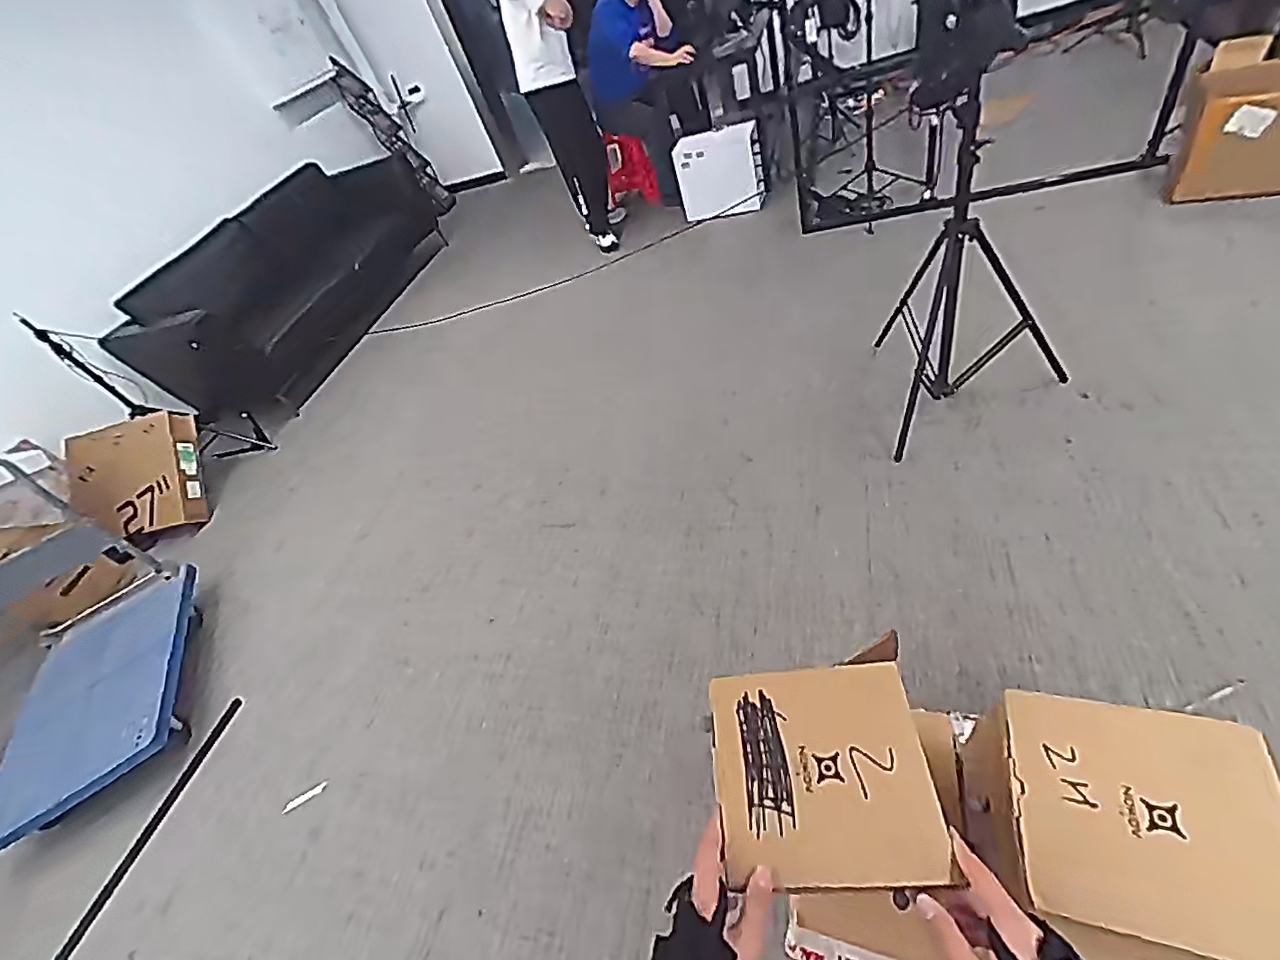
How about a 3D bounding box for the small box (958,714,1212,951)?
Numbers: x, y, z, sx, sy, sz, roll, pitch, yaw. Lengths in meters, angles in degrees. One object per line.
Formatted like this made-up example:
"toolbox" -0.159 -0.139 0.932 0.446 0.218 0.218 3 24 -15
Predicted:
"small box" 0.463 0.389 0.601 0.179 0.176 0.168 5 53 24
